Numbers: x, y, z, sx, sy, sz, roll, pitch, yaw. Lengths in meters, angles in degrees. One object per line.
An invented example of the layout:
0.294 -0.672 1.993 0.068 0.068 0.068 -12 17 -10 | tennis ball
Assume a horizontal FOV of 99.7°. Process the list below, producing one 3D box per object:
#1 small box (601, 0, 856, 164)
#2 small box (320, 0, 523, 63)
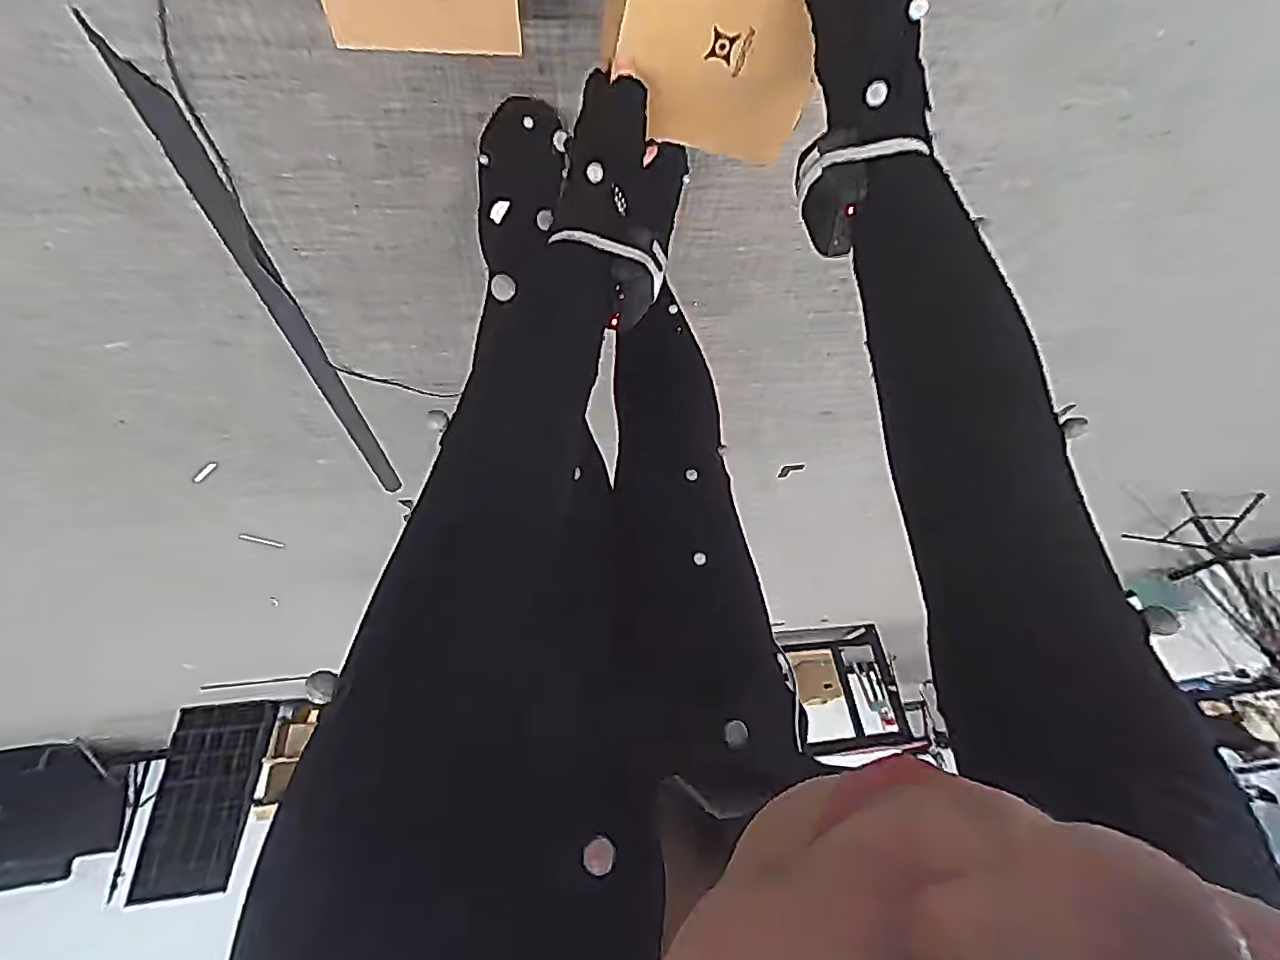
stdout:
0.064 -0.421 0.471 0.179 0.176 0.168 3 154 -15 | small box
-0.192 -0.499 0.460 0.168 0.176 0.179 -3 151 -8 | small box
